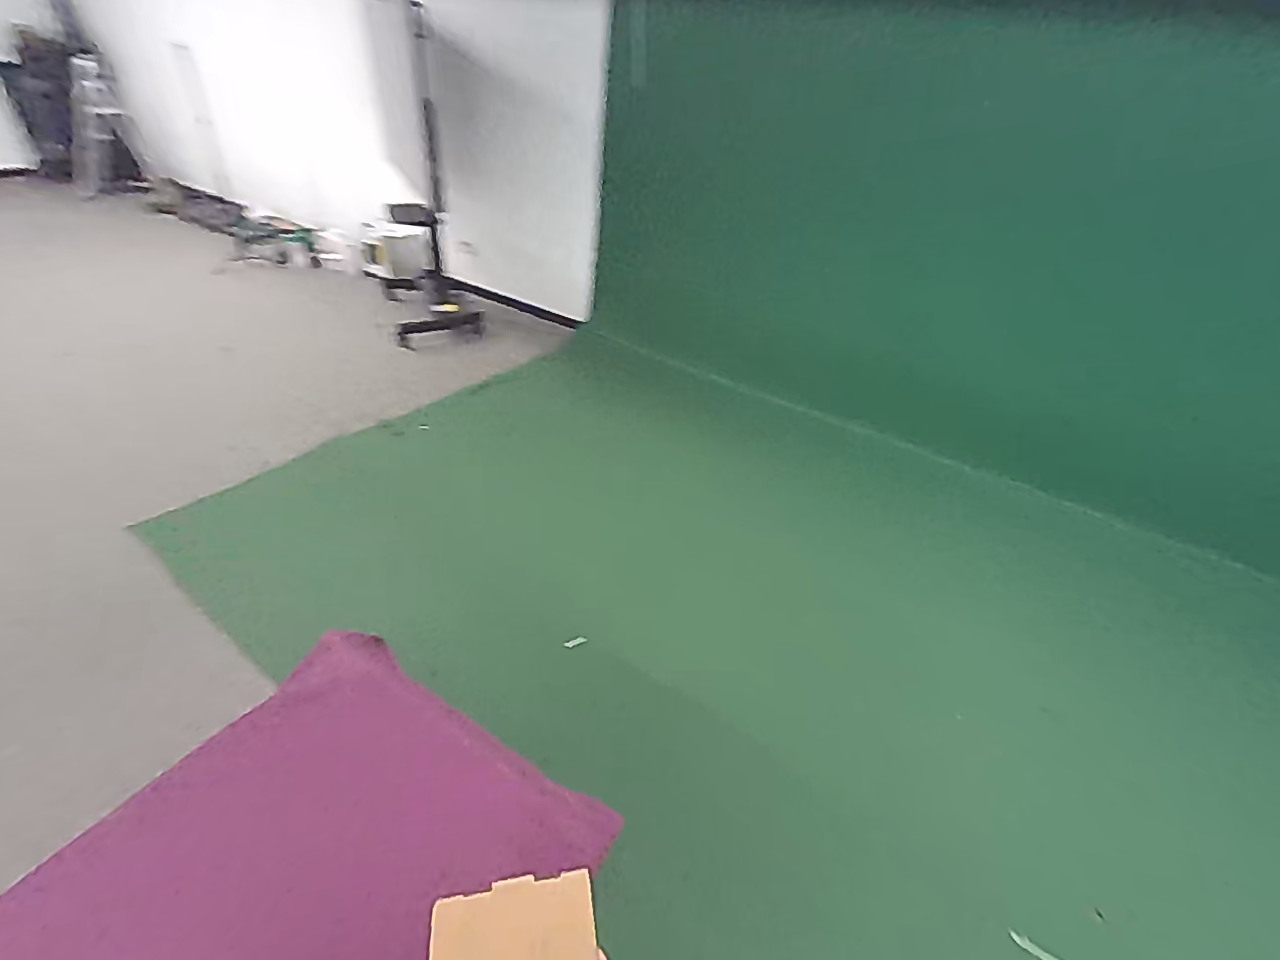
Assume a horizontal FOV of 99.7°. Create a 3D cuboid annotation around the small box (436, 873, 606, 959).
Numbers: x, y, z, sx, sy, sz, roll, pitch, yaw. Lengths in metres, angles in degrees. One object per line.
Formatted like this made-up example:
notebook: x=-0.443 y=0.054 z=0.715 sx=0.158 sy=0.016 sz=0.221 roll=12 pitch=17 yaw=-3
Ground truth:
small box: x=-0.118 y=0.549 z=0.560 sx=0.168 sy=0.176 sz=0.179 roll=-4 pitch=40 yaw=-10
